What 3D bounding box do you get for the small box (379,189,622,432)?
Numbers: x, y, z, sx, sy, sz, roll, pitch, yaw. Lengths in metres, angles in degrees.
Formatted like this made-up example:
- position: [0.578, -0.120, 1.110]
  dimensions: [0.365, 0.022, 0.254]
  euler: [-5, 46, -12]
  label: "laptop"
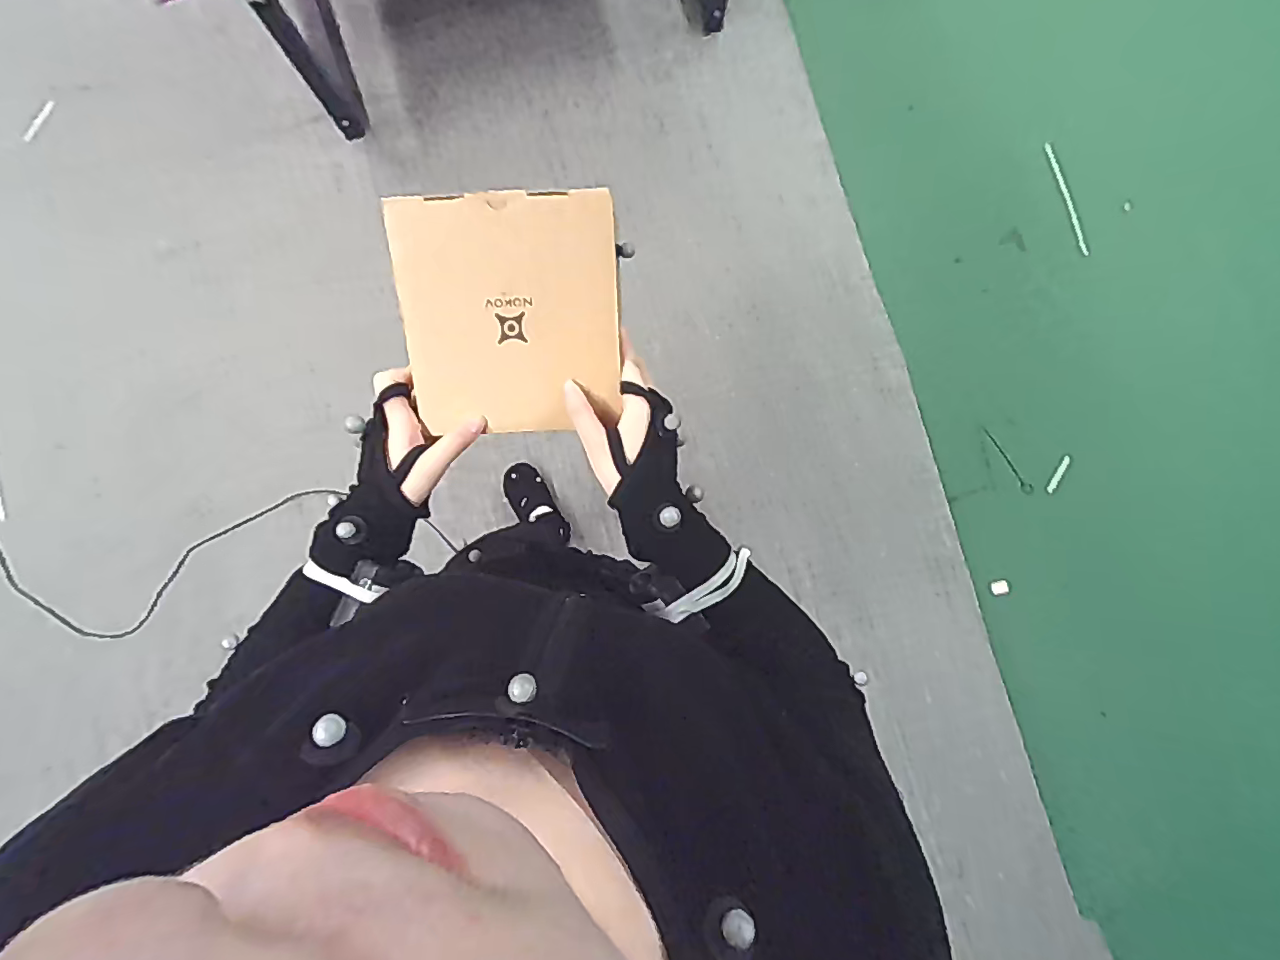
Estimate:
- position: [-0.104, -0.152, 0.490]
  dimensions: [0.168, 0.176, 0.179]
  euler: [-3, 110, 0]
  label: "small box"
